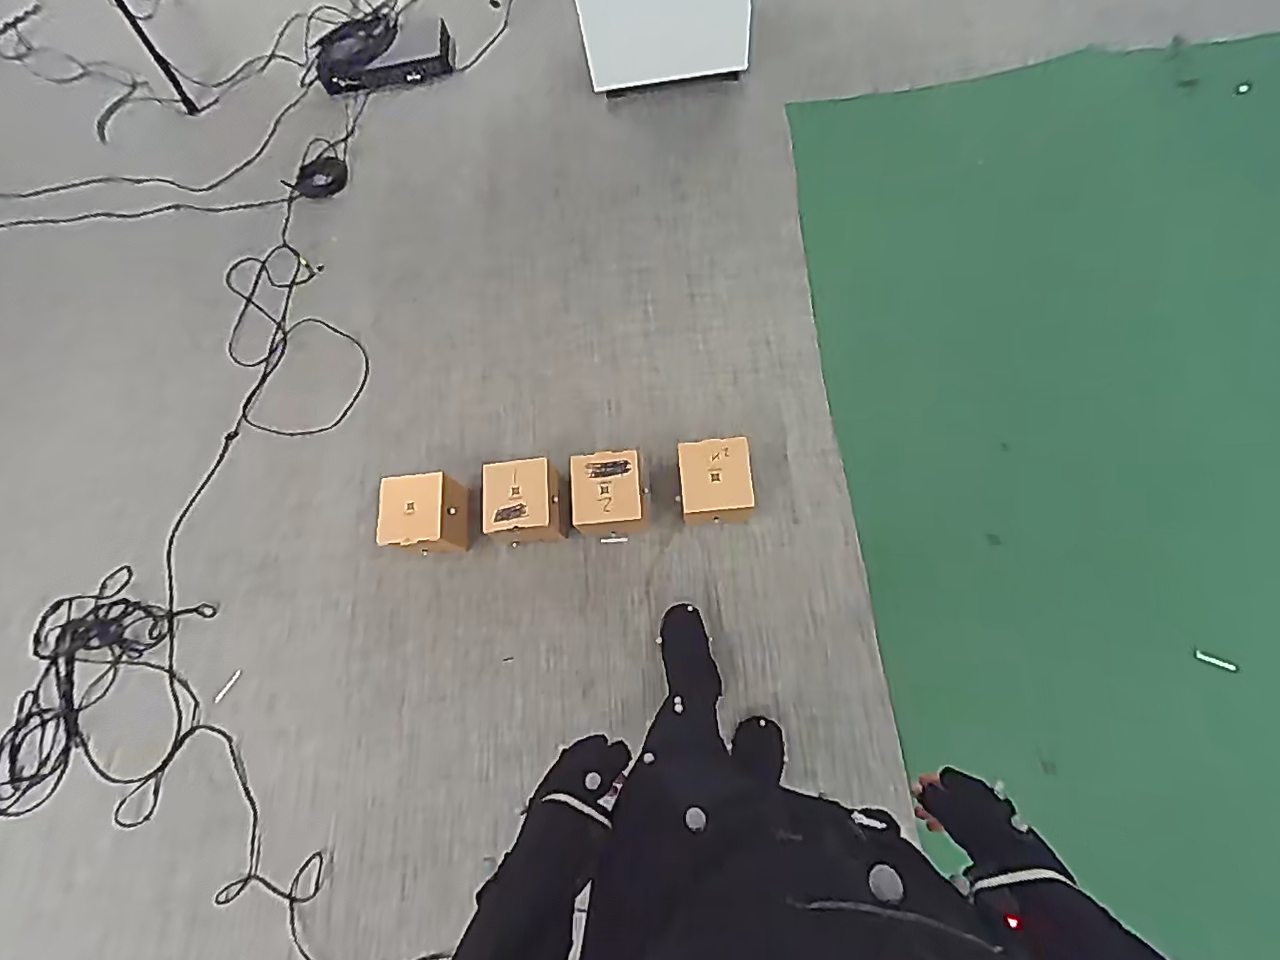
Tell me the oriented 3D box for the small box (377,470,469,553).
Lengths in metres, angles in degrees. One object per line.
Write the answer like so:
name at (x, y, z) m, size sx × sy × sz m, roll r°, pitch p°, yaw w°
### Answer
small box at (-0.563, 0.087, 1.425) m, size 0.168 × 0.176 × 0.179 m, roll -6°, pitch 72°, yaw 6°

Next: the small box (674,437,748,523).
small box at (0.176, 0.008, 1.353) m, size 0.168 × 0.176 × 0.179 m, roll -5°, pitch 73°, yaw 5°

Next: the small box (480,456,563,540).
small box at (-0.300, 0.054, 1.397) m, size 0.168 × 0.176 × 0.179 m, roll -7°, pitch 71°, yaw 6°
